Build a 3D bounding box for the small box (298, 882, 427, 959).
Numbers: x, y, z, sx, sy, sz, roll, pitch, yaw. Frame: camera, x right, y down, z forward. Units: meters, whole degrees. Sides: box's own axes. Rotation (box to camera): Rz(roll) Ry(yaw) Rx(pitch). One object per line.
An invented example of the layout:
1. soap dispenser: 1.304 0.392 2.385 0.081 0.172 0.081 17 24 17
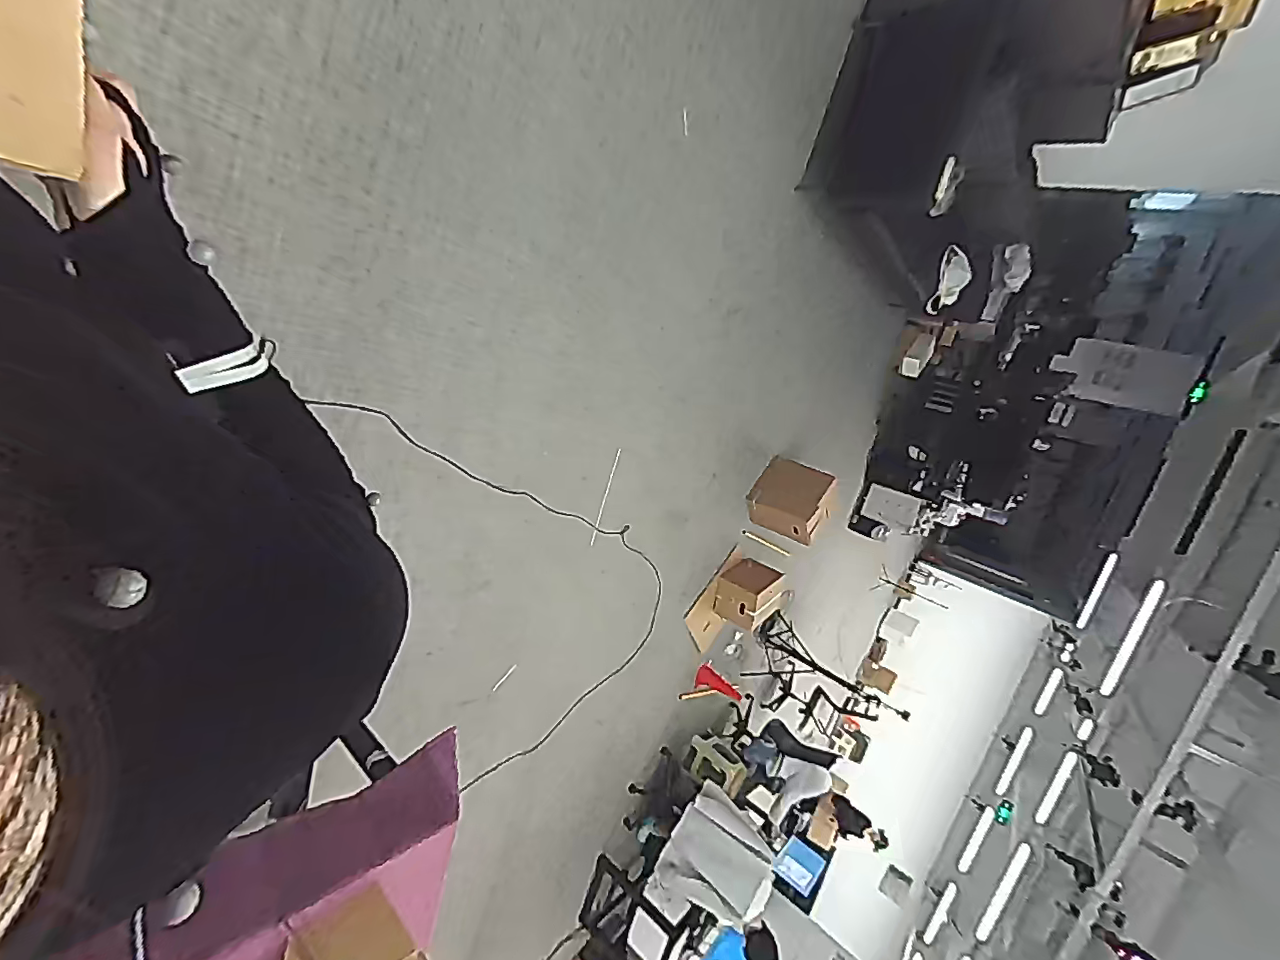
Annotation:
1. small box: -0.556 0.956 1.062 0.179 0.176 0.168 3 109 -53
